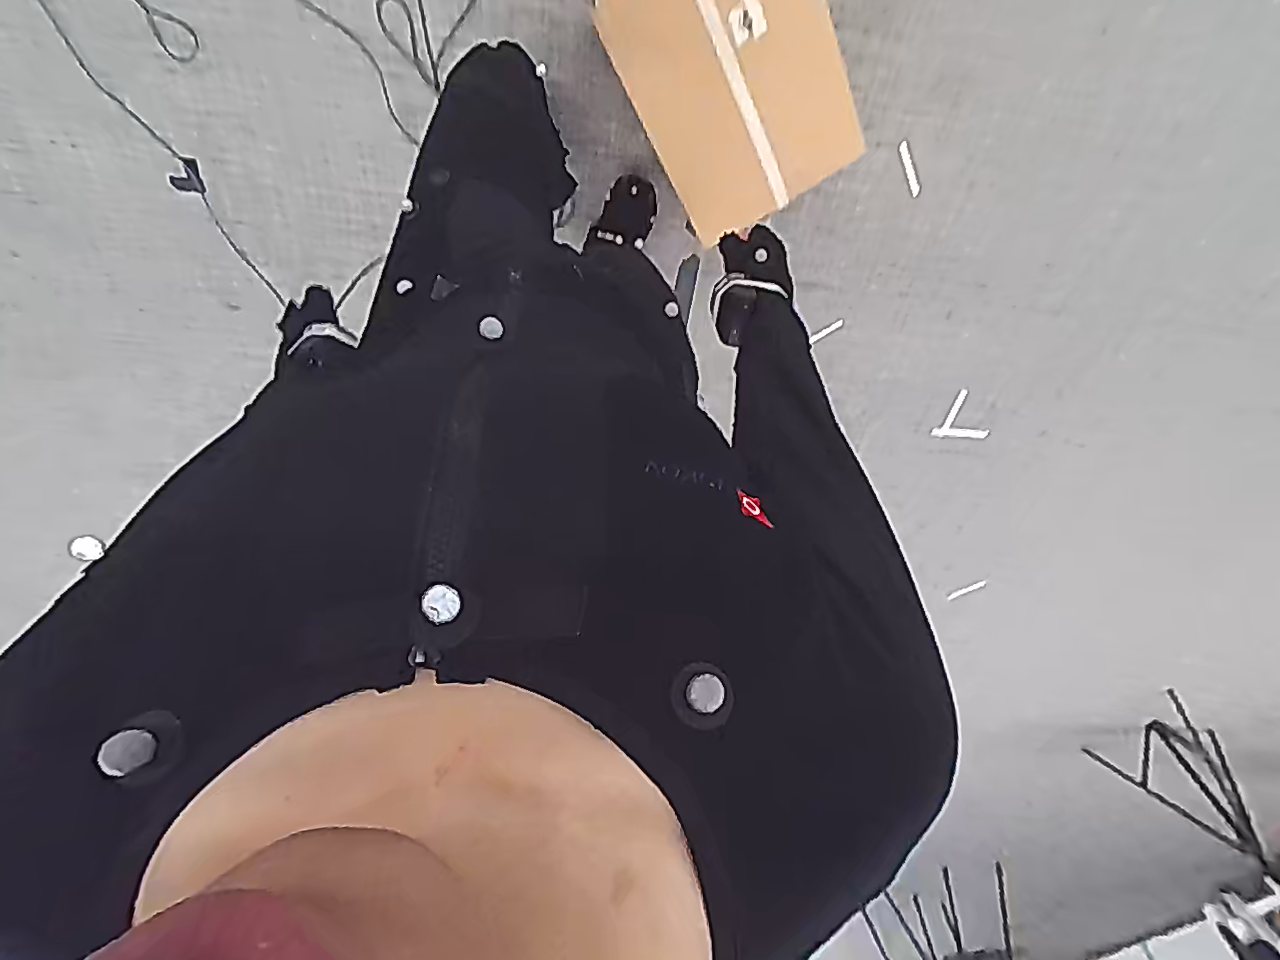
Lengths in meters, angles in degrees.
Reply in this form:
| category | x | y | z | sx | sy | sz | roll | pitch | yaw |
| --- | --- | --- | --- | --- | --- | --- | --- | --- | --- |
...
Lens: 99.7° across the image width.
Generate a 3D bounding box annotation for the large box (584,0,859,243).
| category | x | y | z | sx | sy | sz | roll | pitch | yaw |
| --- | --- | --- | --- | --- | --- | --- | --- | --- | --- |
| large box | 0.146 | -0.728 | 0.987 | 0.320 | 0.320 | 0.408 | -26 | 124 | 17 |
